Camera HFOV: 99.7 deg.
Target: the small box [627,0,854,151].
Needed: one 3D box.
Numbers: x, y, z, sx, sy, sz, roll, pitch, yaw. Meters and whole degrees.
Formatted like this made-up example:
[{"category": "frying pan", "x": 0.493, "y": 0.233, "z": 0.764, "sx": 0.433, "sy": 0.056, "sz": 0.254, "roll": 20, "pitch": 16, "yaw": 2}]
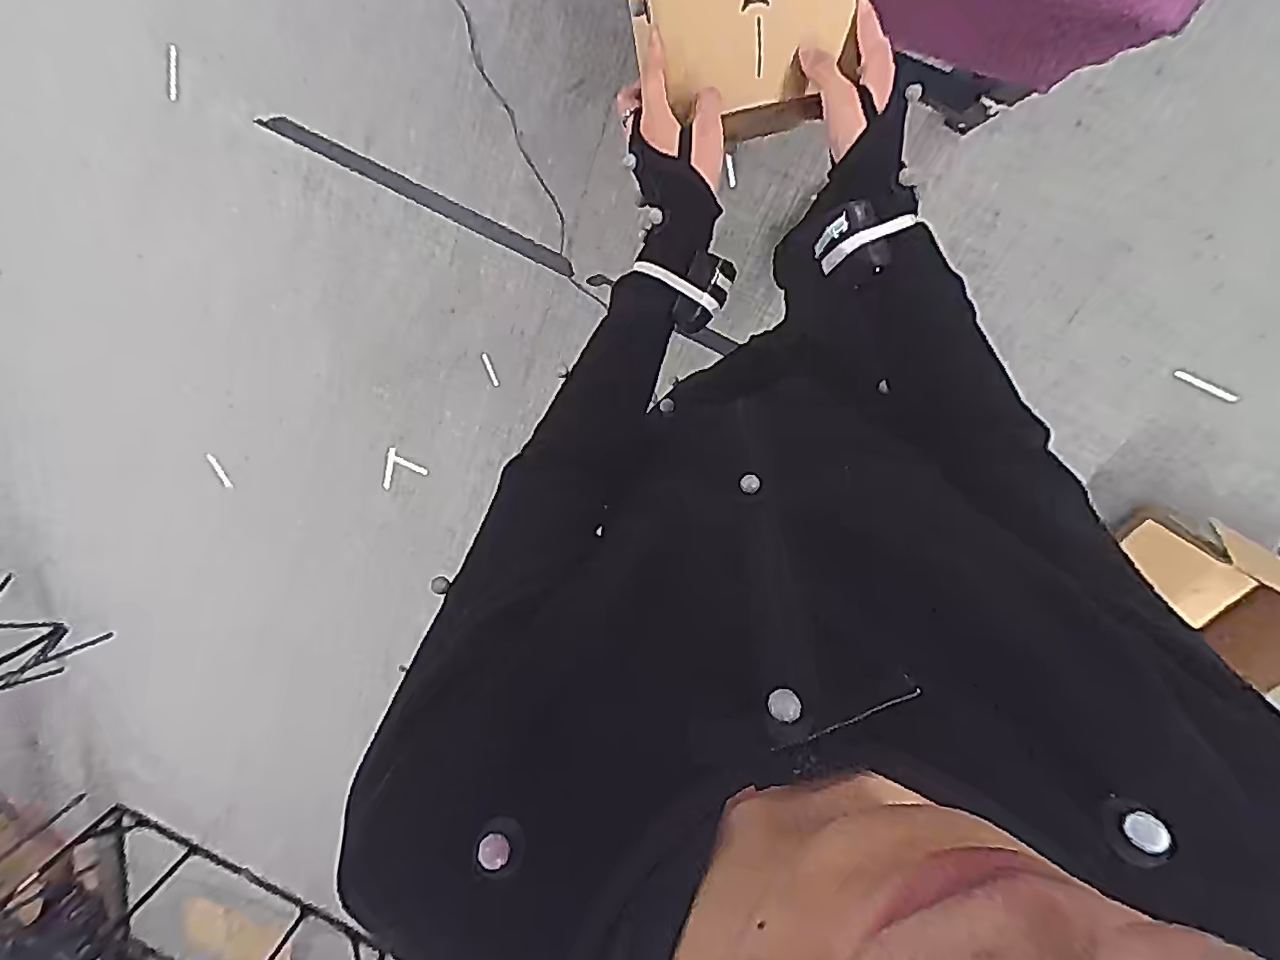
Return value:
[{"category": "small box", "x": 0.082, "y": -0.439, "z": 0.508, "sx": 0.168, "sy": 0.176, "sz": 0.179, "roll": -12, "pitch": 112, "yaw": 1}]
